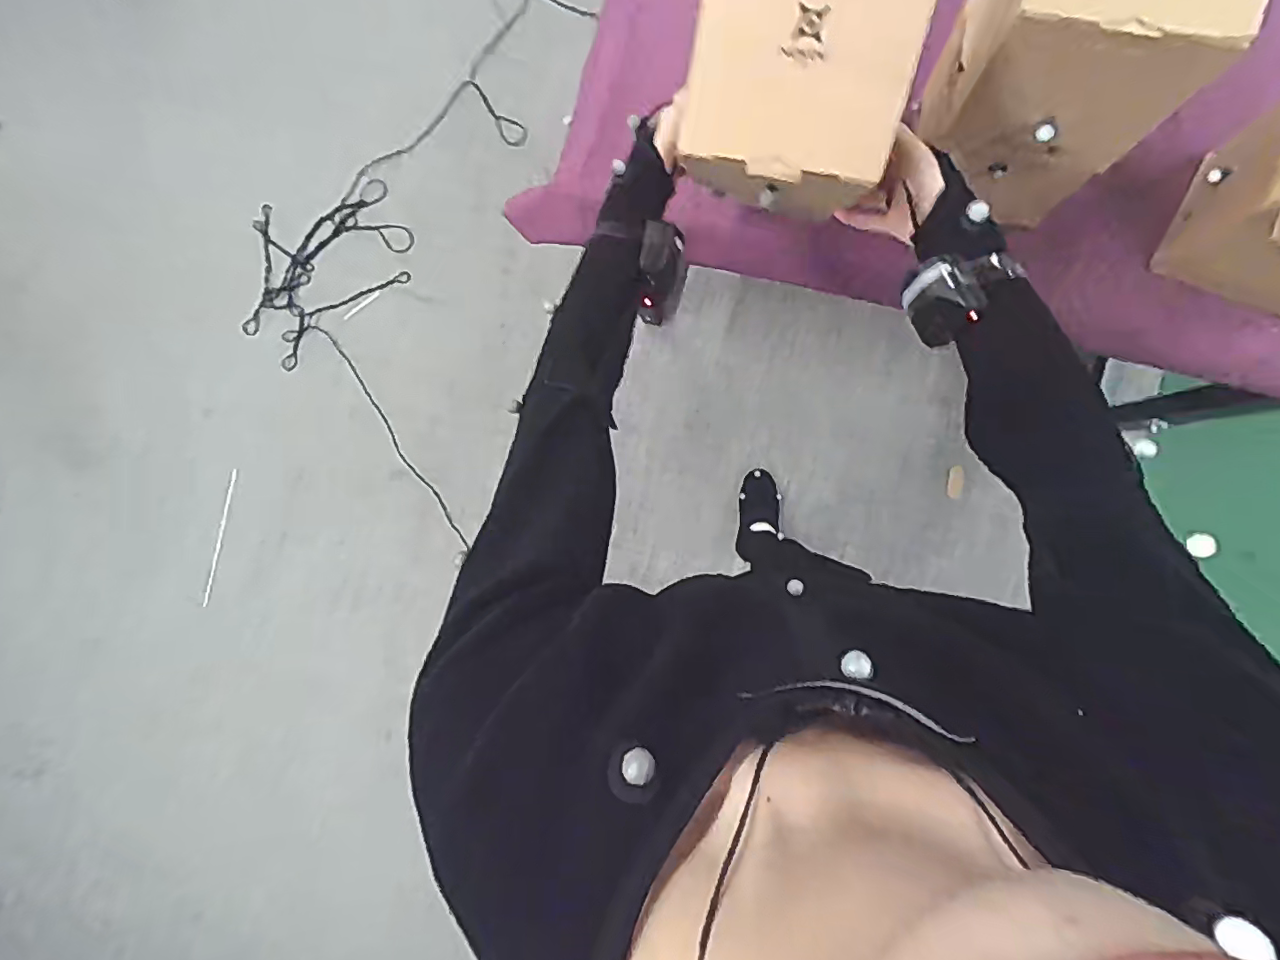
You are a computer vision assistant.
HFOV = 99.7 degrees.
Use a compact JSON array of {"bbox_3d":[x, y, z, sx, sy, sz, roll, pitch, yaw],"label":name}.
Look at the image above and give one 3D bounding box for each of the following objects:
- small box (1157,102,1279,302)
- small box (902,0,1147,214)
[{"bbox_3d":[0.748,-0.317,0.590,0.179,0.176,0.168,26,93,11],"label":"small box"},{"bbox_3d":[0.437,-0.442,0.647,0.179,0.176,0.168,10,92,9],"label":"small box"}]
